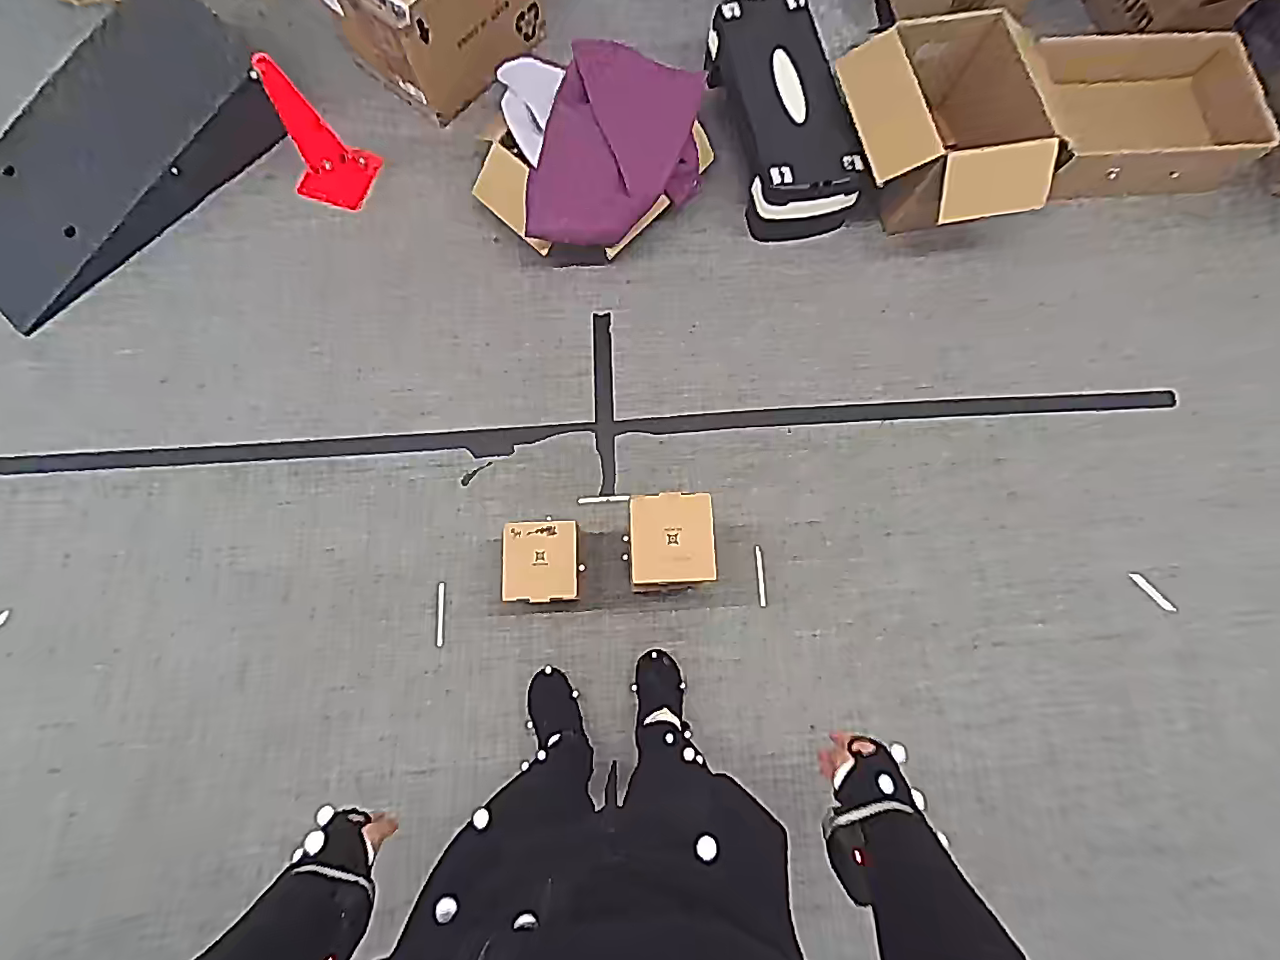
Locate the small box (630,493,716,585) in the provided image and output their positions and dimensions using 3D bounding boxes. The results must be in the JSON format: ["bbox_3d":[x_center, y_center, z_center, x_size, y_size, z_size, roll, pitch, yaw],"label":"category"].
[{"bbox_3d":[0.063,0.130,1.146,0.168,0.176,0.179,-2,79,-2],"label":"small box"}]

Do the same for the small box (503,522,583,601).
[{"bbox_3d":[-0.224,0.196,1.289,0.168,0.176,0.179,-1,78,-2],"label":"small box"}]

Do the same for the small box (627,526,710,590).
[{"bbox_3d":[0.063,0.176,1.302,0.179,0.176,0.168,-3,78,-3],"label":"small box"}]
